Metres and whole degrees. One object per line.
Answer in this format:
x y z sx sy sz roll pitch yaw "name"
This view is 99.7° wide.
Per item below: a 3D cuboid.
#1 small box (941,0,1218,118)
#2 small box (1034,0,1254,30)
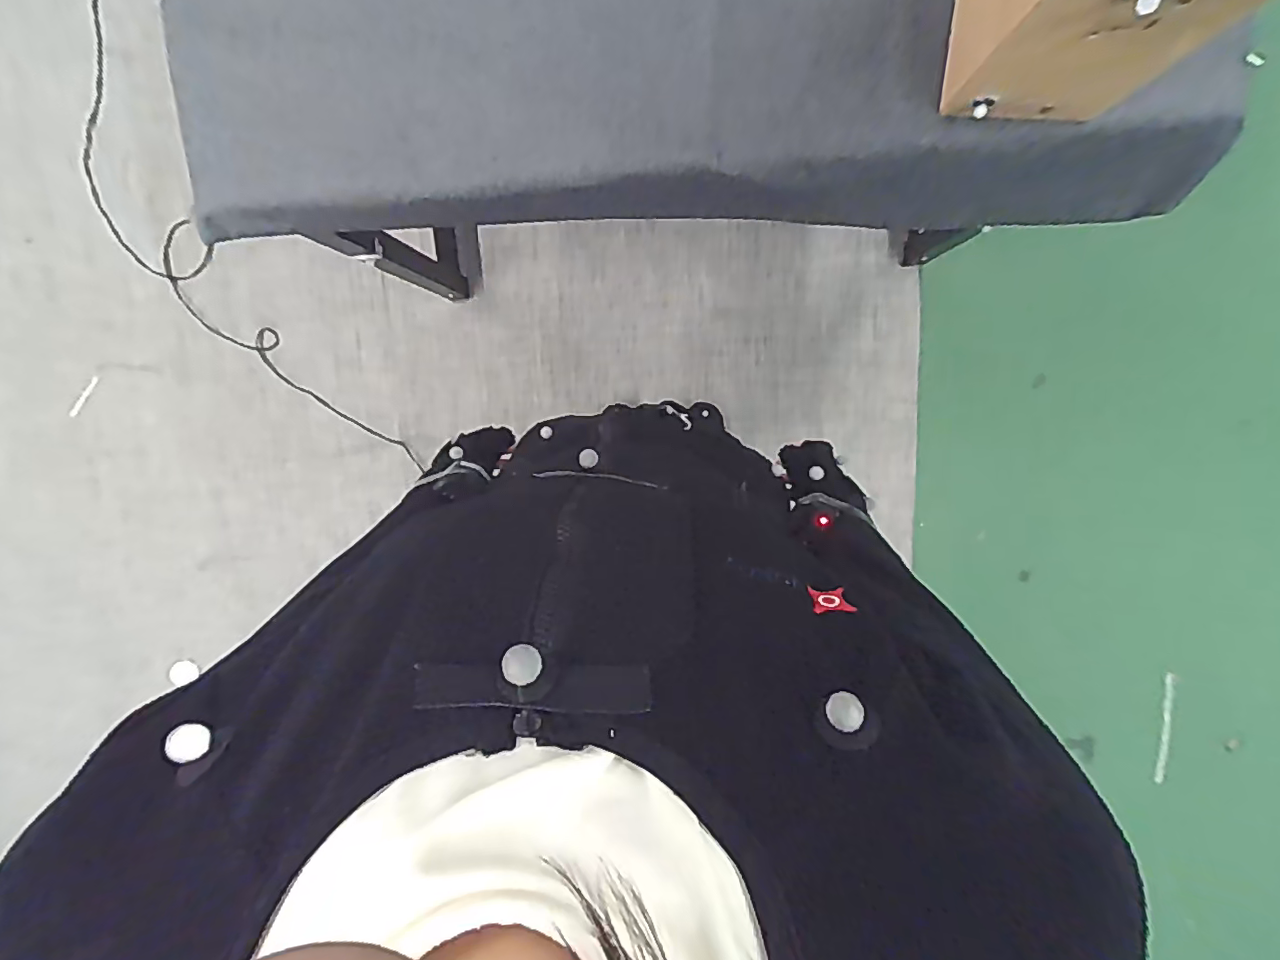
0.416 -0.481 0.517 0.168 0.176 0.179 5 97 3 "small box"
0.403 -0.455 0.359 0.168 0.176 0.179 6 100 4 "small box"
